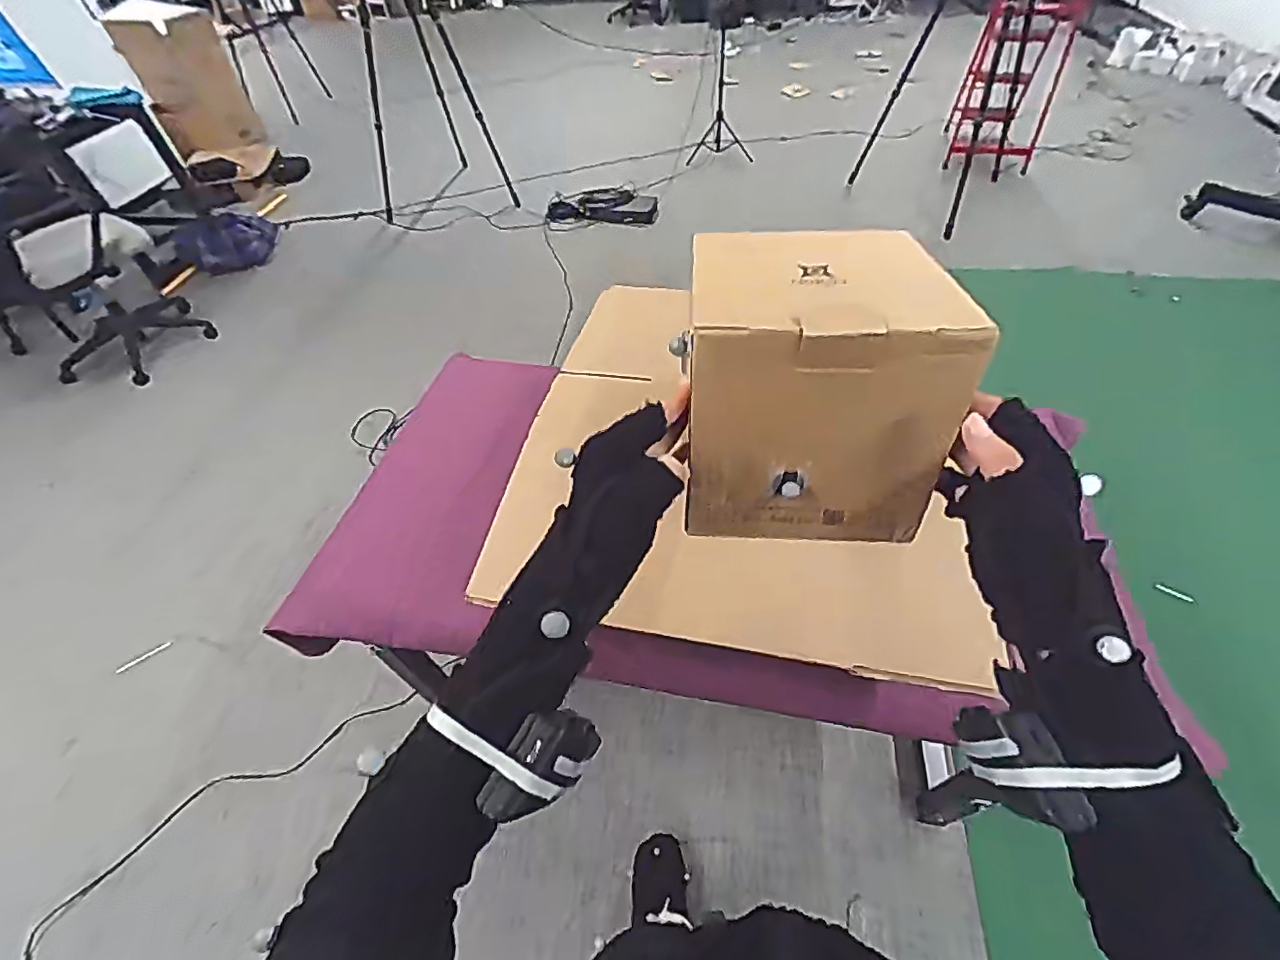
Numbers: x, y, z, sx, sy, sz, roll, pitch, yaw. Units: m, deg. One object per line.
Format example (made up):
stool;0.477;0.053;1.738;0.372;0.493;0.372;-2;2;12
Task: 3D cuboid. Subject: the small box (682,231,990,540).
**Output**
small box;0.118;-0.076;0.415;0.168;0.176;0.179;1;42;4
